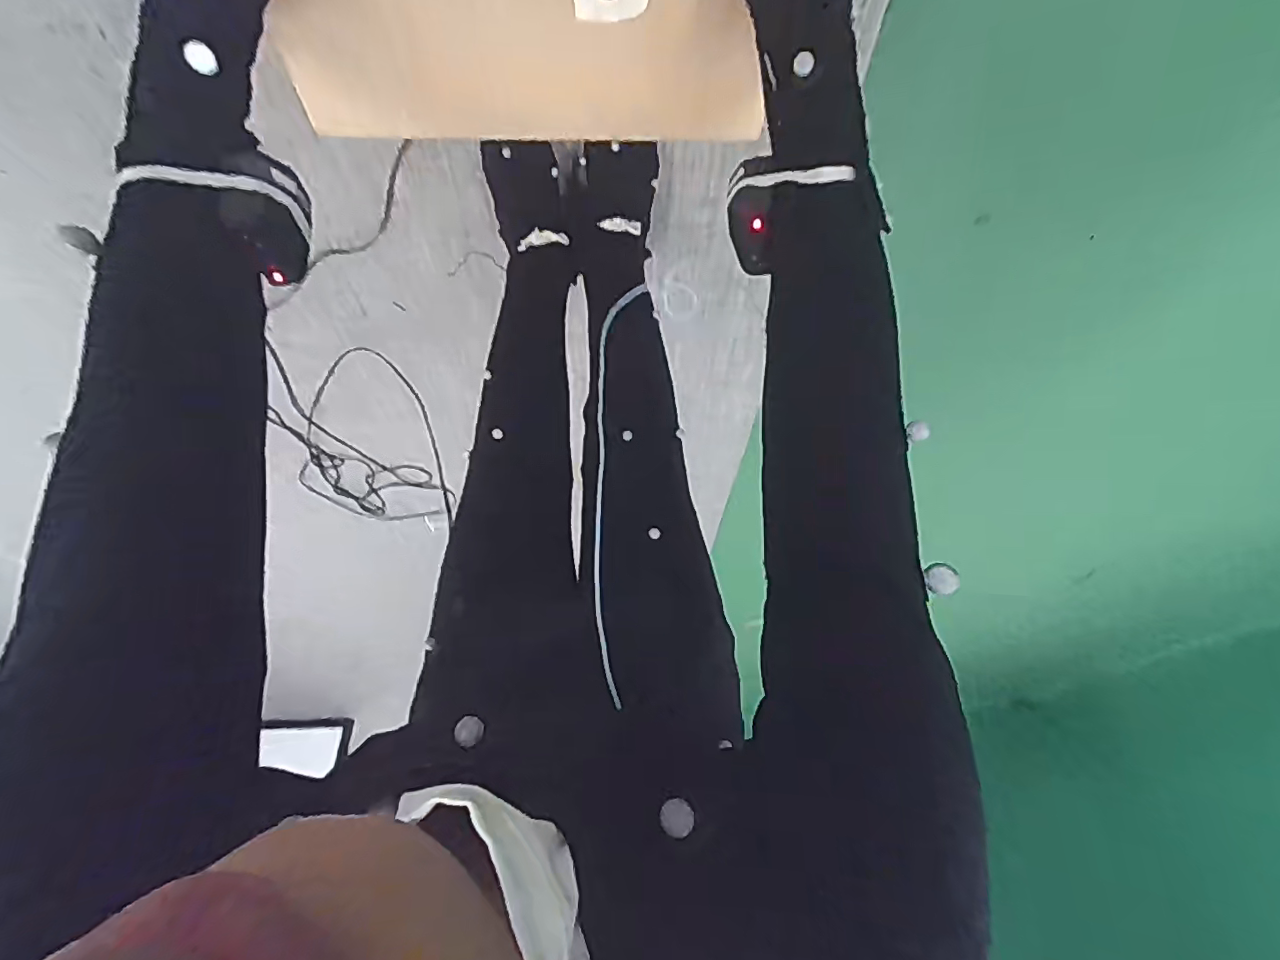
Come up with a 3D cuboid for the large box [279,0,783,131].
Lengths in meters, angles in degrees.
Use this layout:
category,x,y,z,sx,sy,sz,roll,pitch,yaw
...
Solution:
category,x,y,z,sx,sy,sz,roll,pitch,yaw
large box,-0.090,-0.536,0.463,0.408,0.320,0.320,-1,145,-2
